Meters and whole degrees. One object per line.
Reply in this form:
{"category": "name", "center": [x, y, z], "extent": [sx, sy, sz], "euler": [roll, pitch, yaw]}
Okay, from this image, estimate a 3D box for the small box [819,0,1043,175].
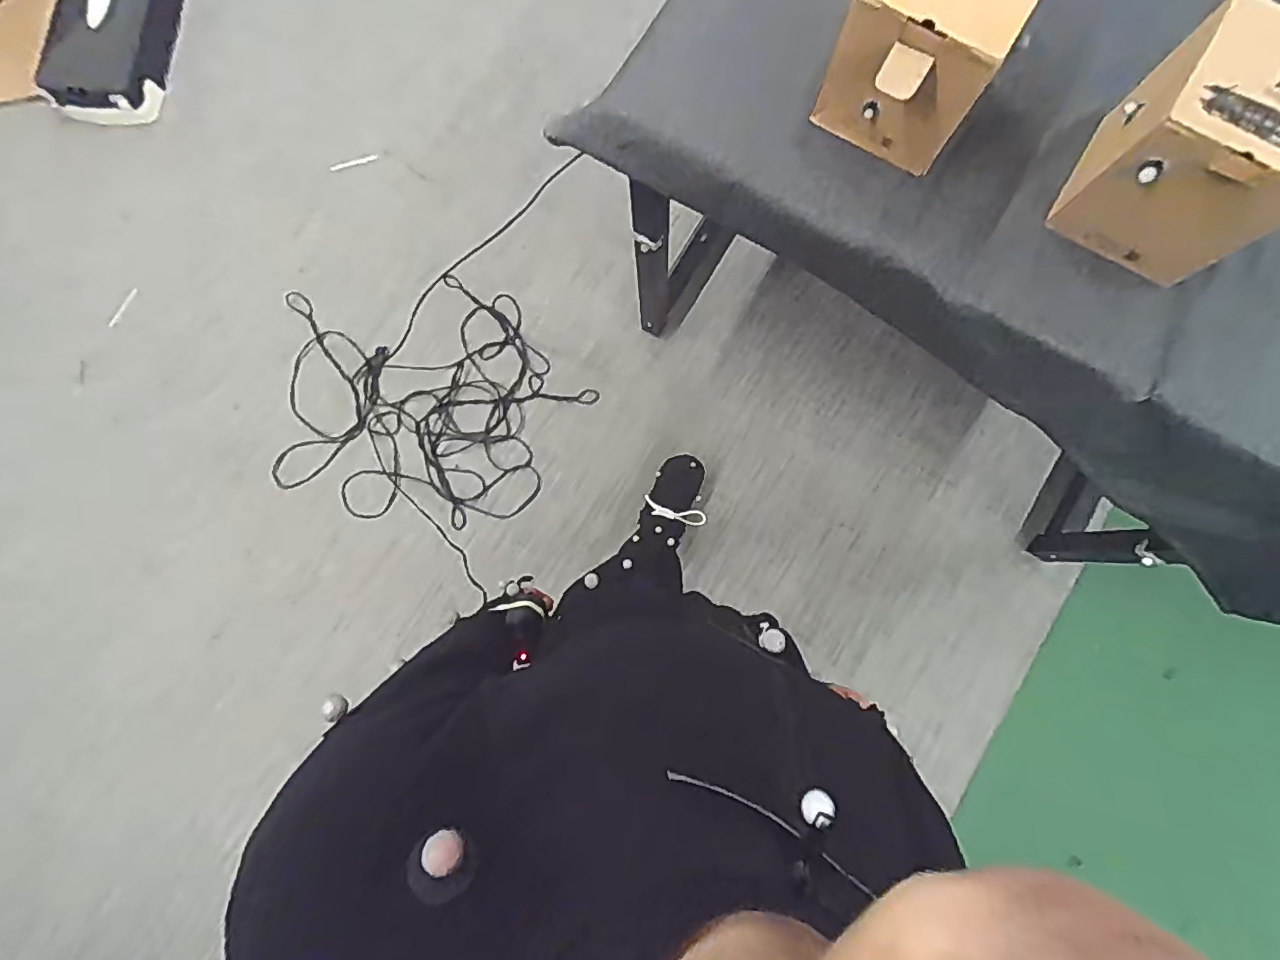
{"category": "small box", "center": [0.335, -0.510, 0.630], "extent": [0.168, 0.176, 0.179], "euler": [31, 85, 5]}
